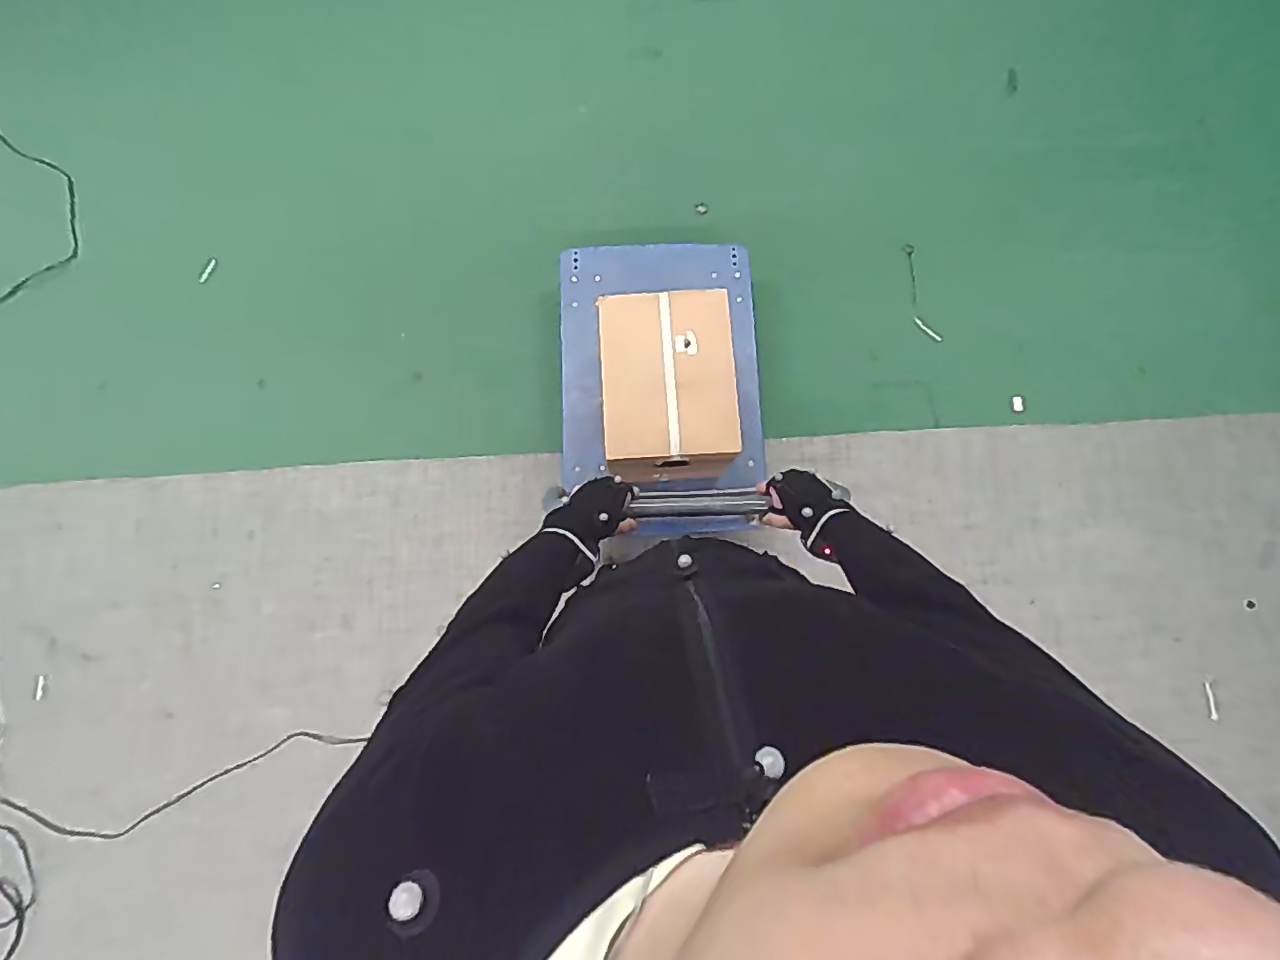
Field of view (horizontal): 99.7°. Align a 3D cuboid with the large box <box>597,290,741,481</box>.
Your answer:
[{"bbox_3d":[0.064,-0.227,1.412,0.320,0.320,0.408,-3,80,-1],"label":"large box"}]
